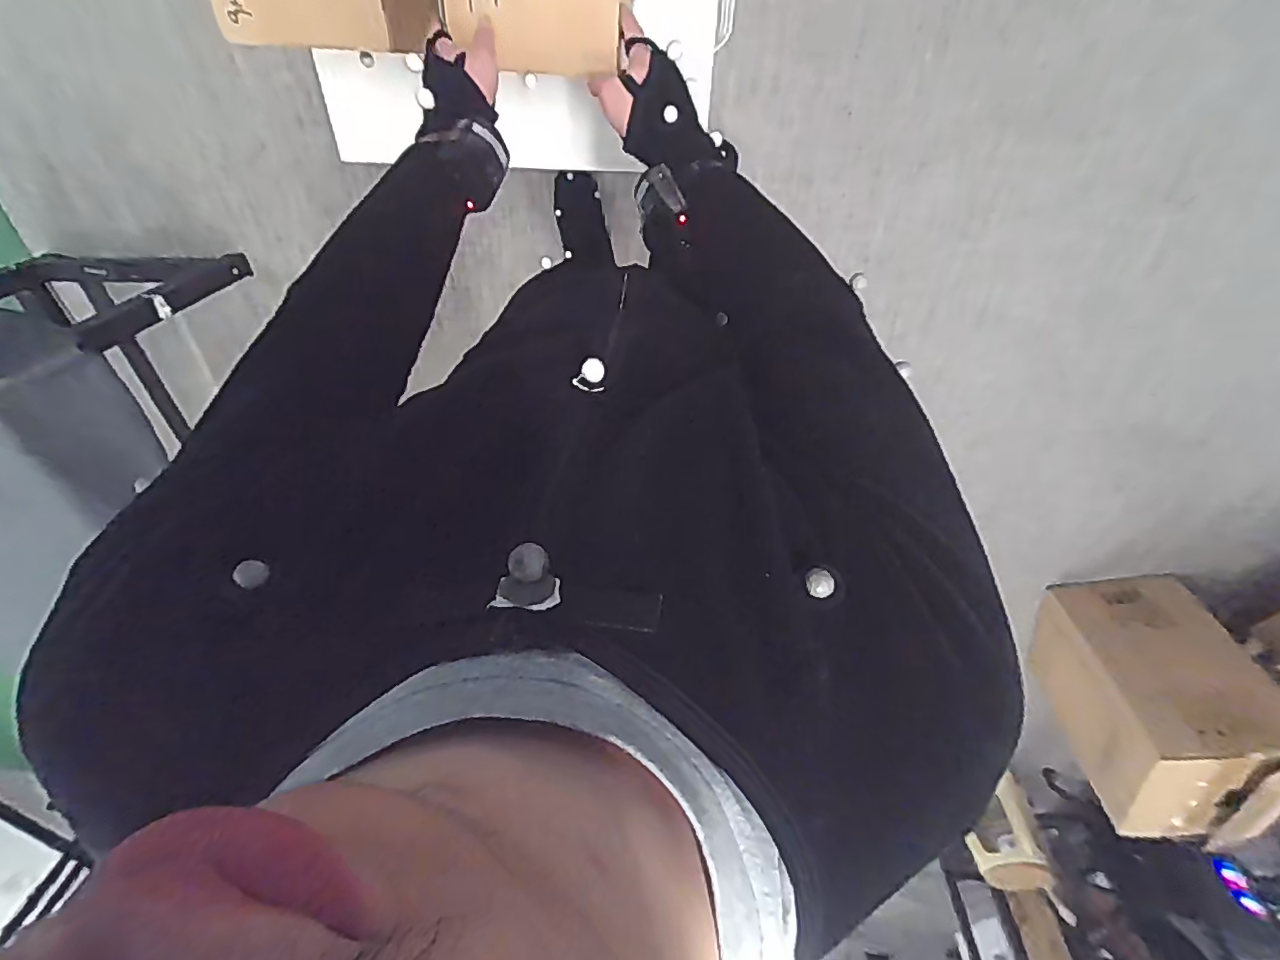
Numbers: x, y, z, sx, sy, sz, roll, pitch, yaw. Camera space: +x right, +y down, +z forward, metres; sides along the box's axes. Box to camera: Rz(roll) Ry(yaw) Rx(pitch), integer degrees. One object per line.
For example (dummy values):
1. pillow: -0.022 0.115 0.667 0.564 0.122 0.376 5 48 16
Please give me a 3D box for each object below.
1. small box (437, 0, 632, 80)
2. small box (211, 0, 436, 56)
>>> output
1. small box: -0.101 -0.523 0.559 0.179 0.176 0.168 5 129 0
2. small box: -0.327 -0.549 0.558 0.179 0.176 0.168 3 128 0
